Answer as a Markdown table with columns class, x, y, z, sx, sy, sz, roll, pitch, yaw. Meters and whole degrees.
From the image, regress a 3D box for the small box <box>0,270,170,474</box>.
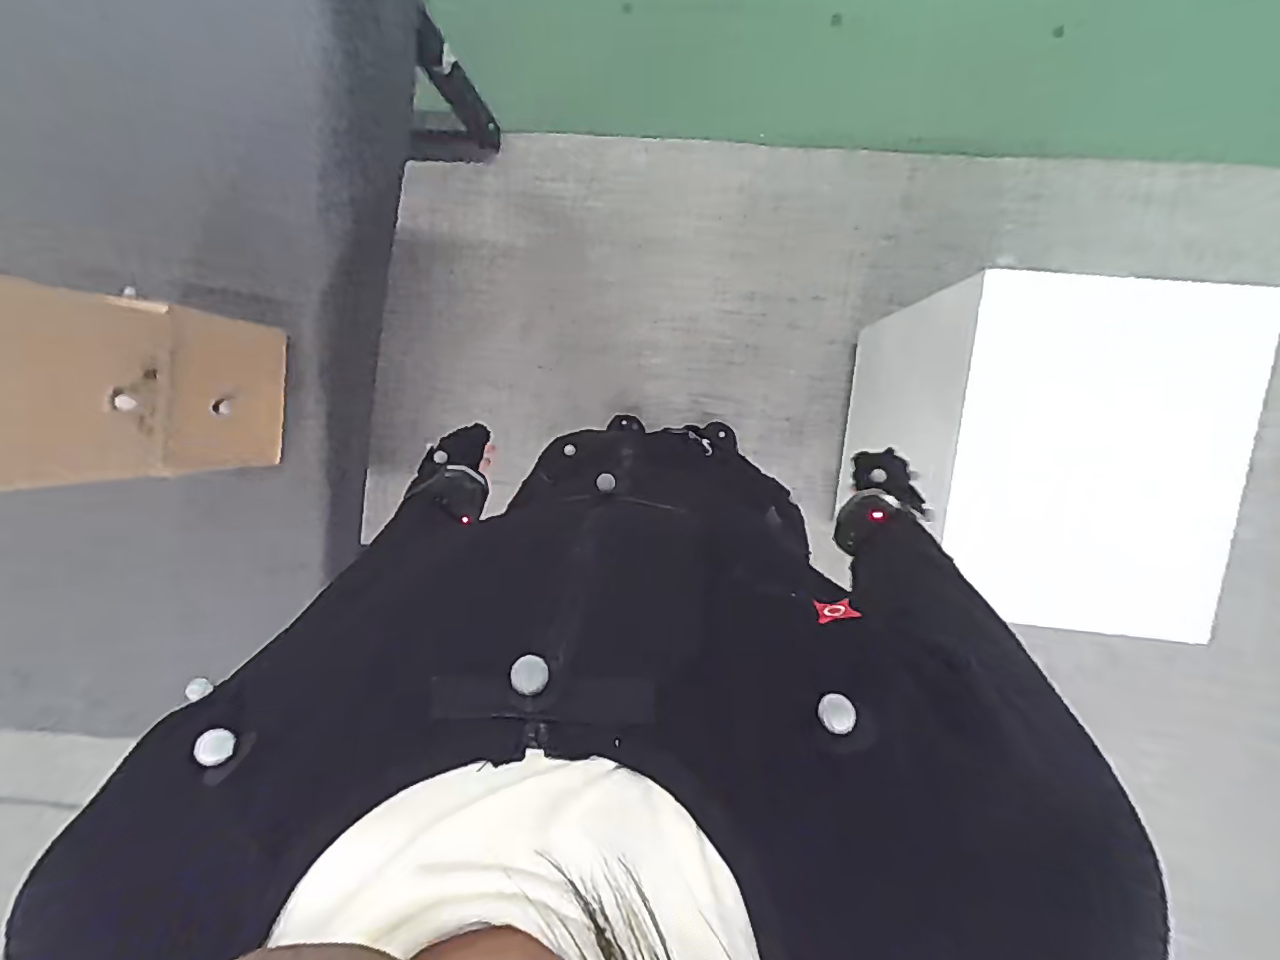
| class | x | y | z | sx | sy | sz | roll | pitch | yaw |
| --- | --- | --- | --- | --- | --- | --- | --- | --- | --- |
| small box | -0.577 | -0.097 | 0.480 | 0.179 | 0.176 | 0.168 | 8 | 97 | 7 |

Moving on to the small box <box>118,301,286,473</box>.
| class | x | y | z | sx | sy | sz | roll | pitch | yaw |
| --- | --- | --- | --- | --- | --- | --- | --- | --- | --- |
| small box | -0.557 | -0.114 | 0.642 | 0.168 | 0.176 | 0.179 | 8 | 98 | 5 |
